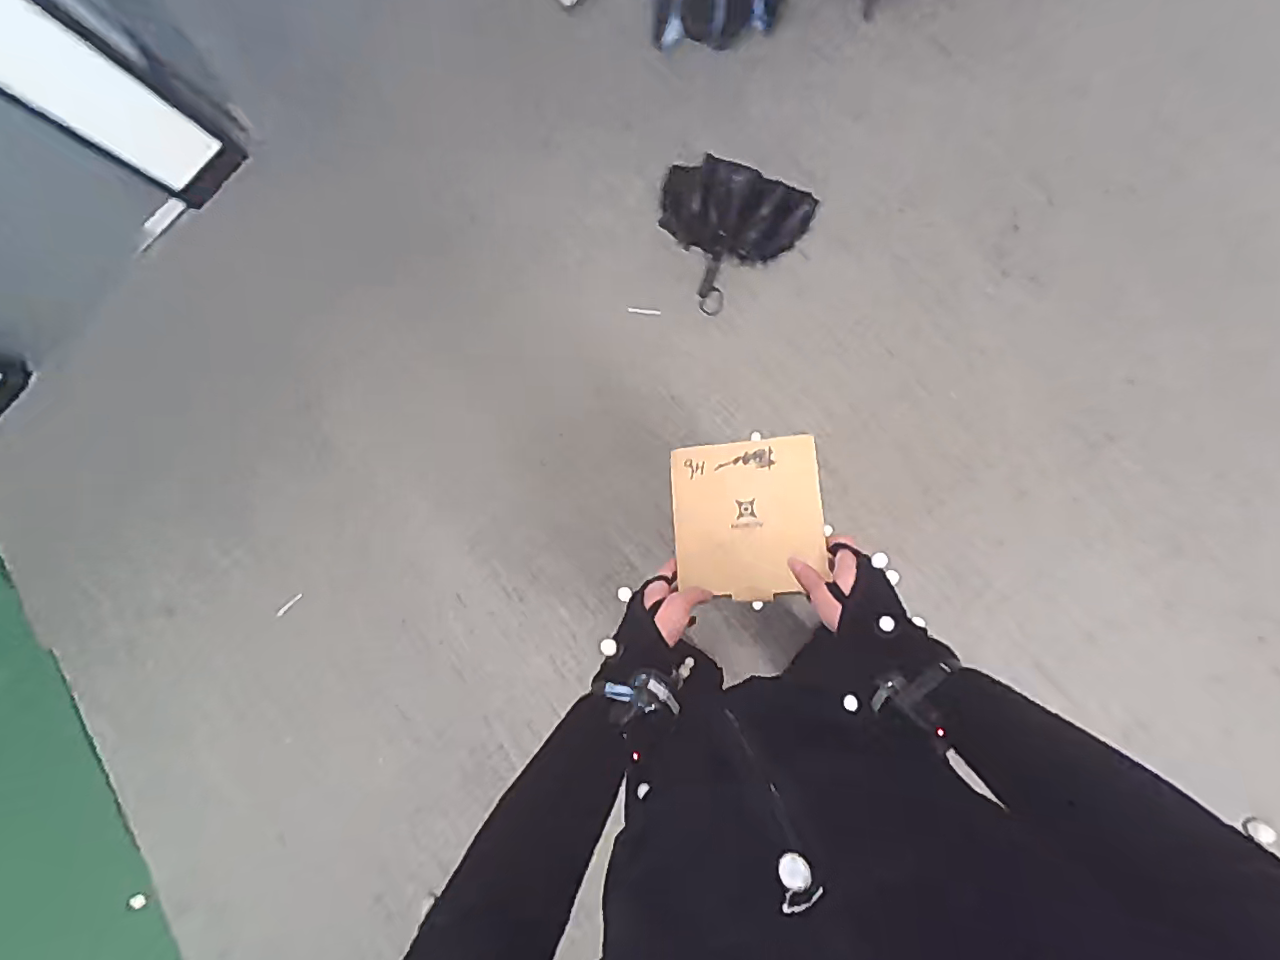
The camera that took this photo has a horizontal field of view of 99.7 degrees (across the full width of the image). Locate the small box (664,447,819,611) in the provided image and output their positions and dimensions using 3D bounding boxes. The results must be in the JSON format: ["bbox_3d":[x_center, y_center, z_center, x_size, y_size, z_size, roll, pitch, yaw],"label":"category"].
[{"bbox_3d":[0.133,0.068,0.688,0.168,0.176,0.179,-7,79,14],"label":"small box"}]
